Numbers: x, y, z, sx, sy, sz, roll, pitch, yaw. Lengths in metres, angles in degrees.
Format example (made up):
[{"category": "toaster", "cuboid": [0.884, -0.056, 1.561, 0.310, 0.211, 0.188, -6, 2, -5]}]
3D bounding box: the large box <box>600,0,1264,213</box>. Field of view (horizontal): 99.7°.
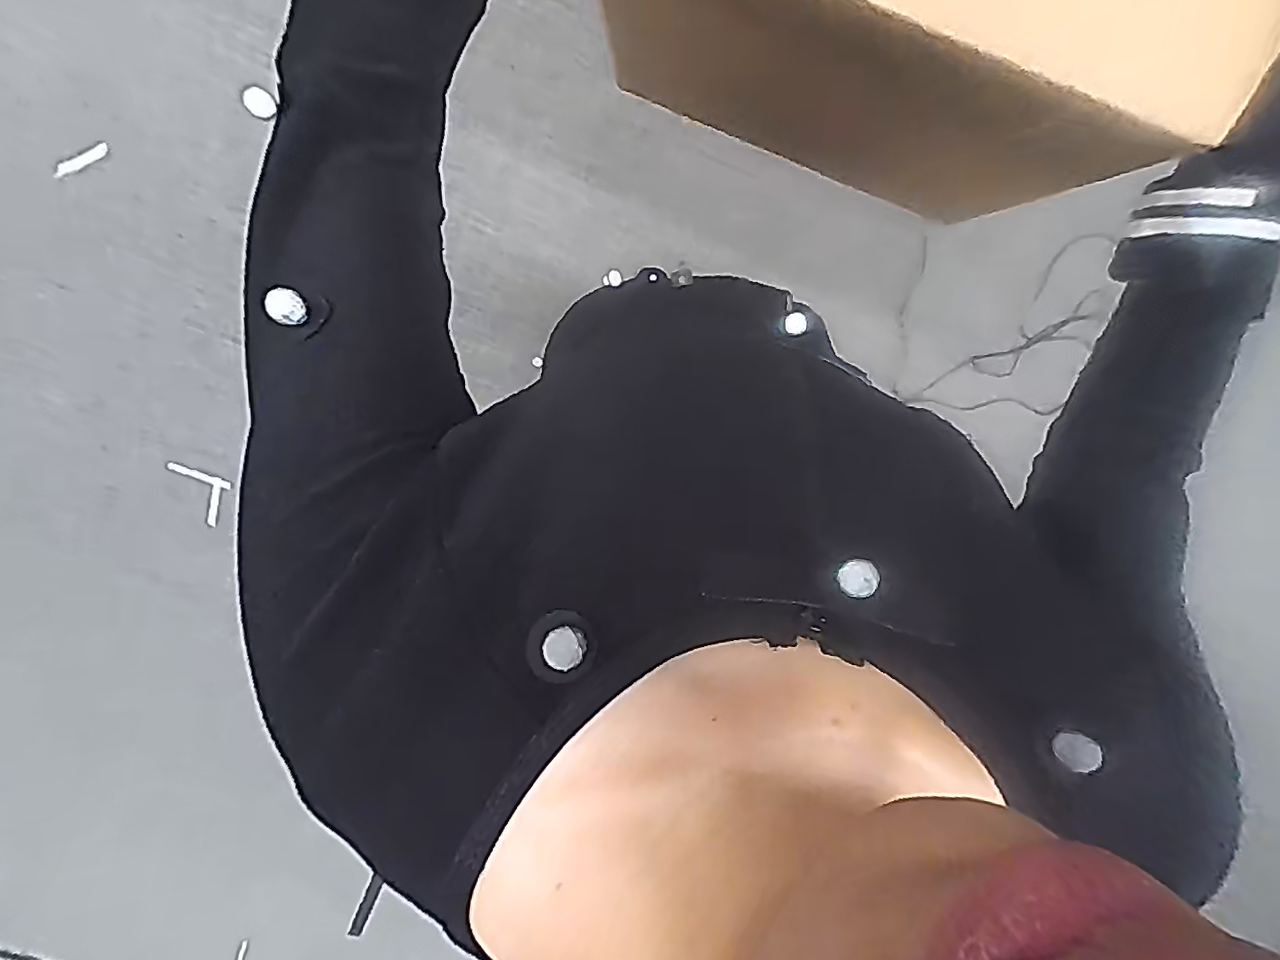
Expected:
[{"category": "large box", "cuboid": [0.201, -0.456, 0.417, 0.408, 0.320, 0.320, 19, 108, -4]}]
